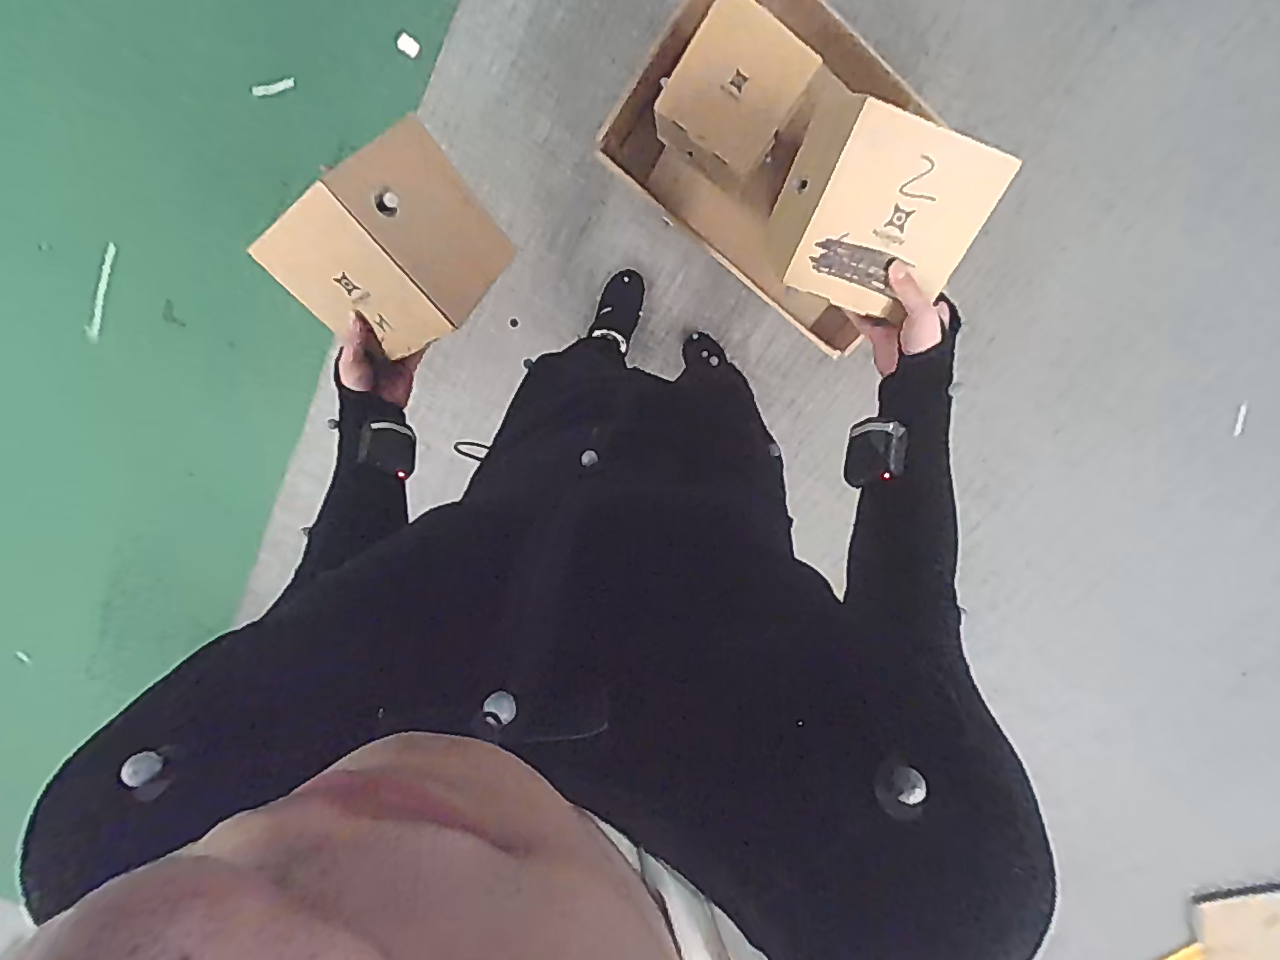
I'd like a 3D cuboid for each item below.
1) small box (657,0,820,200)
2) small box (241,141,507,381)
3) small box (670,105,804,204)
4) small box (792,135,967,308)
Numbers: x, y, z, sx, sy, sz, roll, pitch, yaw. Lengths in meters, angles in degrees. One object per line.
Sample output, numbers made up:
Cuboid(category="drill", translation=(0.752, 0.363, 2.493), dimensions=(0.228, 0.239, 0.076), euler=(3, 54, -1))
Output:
Cuboid(category="small box", translation=(0.137, -0.565, 0.828), dimensions=(0.168, 0.176, 0.179), euler=(33, 108, -9))
Cuboid(category="small box", translation=(-0.289, -0.250, 0.618), dimensions=(0.168, 0.176, 0.179), euler=(-12, 135, 34))
Cuboid(category="small box", translation=(0.159, -0.627, 0.976), dimensions=(0.179, 0.176, 0.168), euler=(35, 109, -10))
Cuboid(category="small box", translation=(0.365, -0.400, 0.869), dimensions=(0.168, 0.176, 0.179), euler=(37, 108, -10))
